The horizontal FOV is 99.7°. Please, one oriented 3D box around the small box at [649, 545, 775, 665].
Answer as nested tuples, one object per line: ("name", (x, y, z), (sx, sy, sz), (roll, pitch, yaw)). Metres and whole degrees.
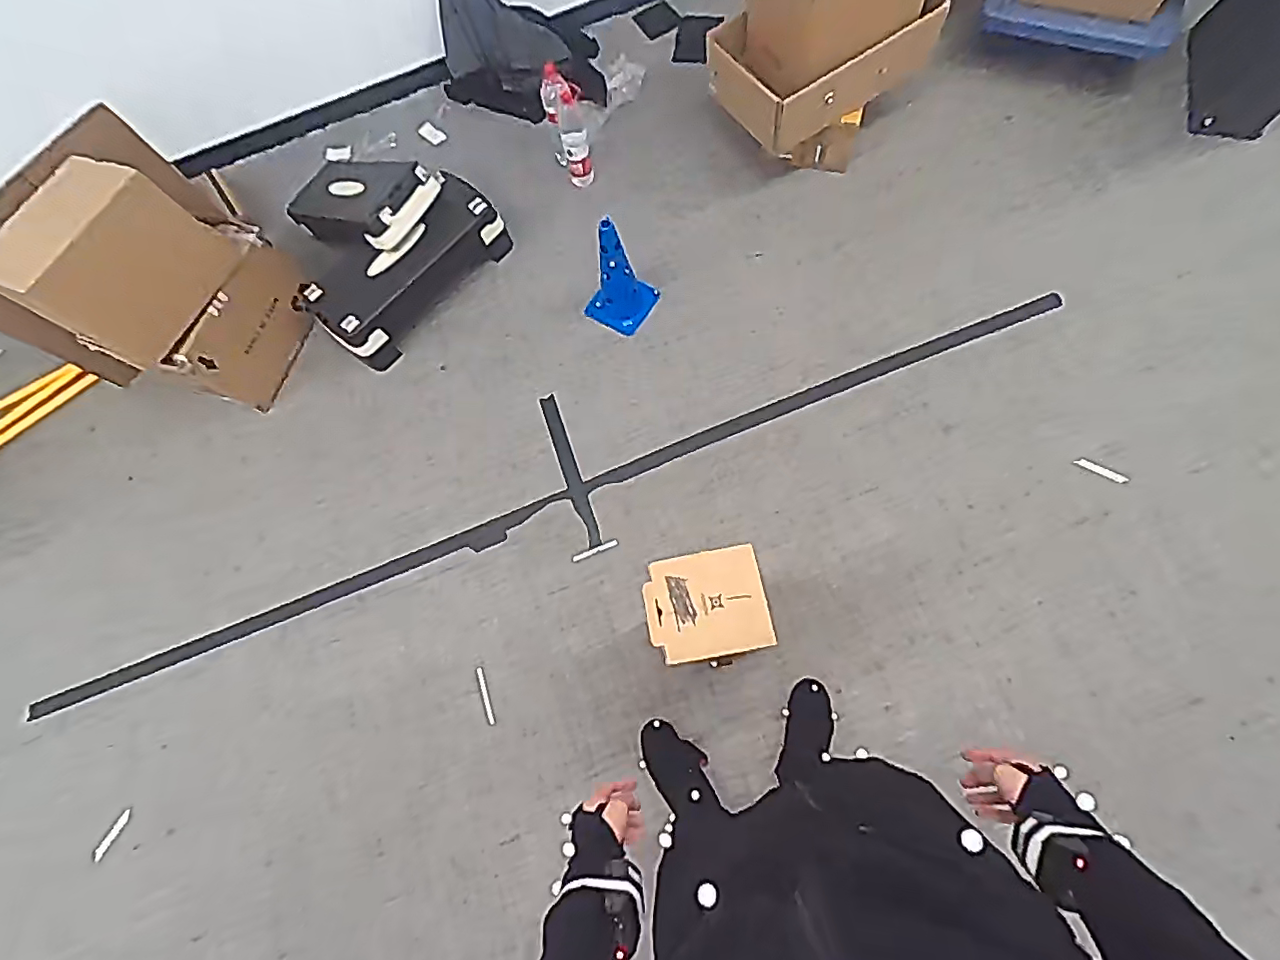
("small box", (0.120, 0.222, 0.937), (0.179, 0.176, 0.168), (-11, 71, 1))
